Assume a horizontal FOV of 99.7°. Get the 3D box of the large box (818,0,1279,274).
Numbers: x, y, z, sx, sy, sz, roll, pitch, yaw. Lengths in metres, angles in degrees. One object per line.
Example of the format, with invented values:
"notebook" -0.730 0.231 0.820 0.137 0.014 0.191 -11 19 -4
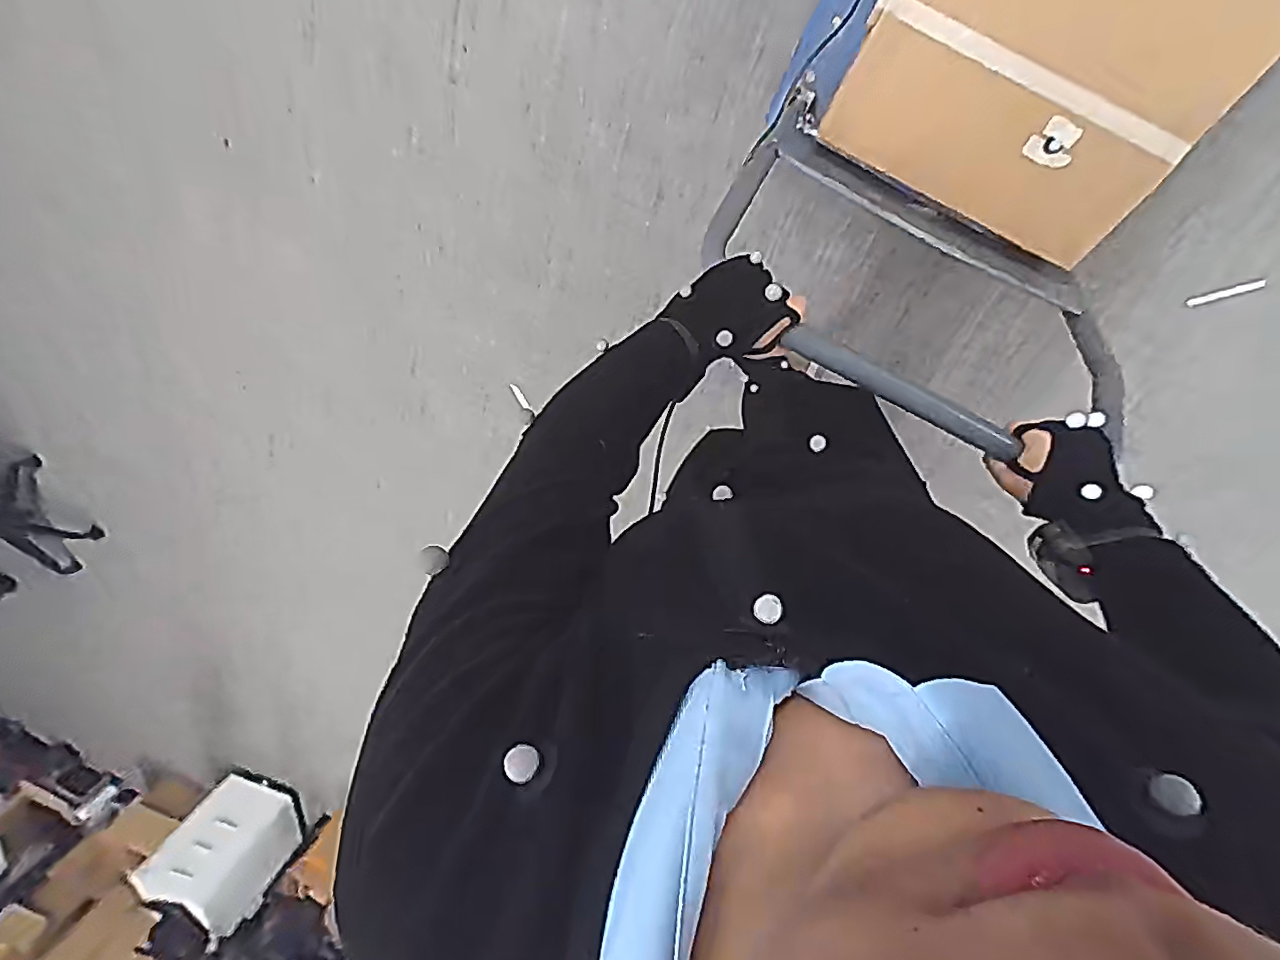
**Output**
"large box" 0.513 -0.564 0.758 0.408 0.320 0.320 27 135 -2
